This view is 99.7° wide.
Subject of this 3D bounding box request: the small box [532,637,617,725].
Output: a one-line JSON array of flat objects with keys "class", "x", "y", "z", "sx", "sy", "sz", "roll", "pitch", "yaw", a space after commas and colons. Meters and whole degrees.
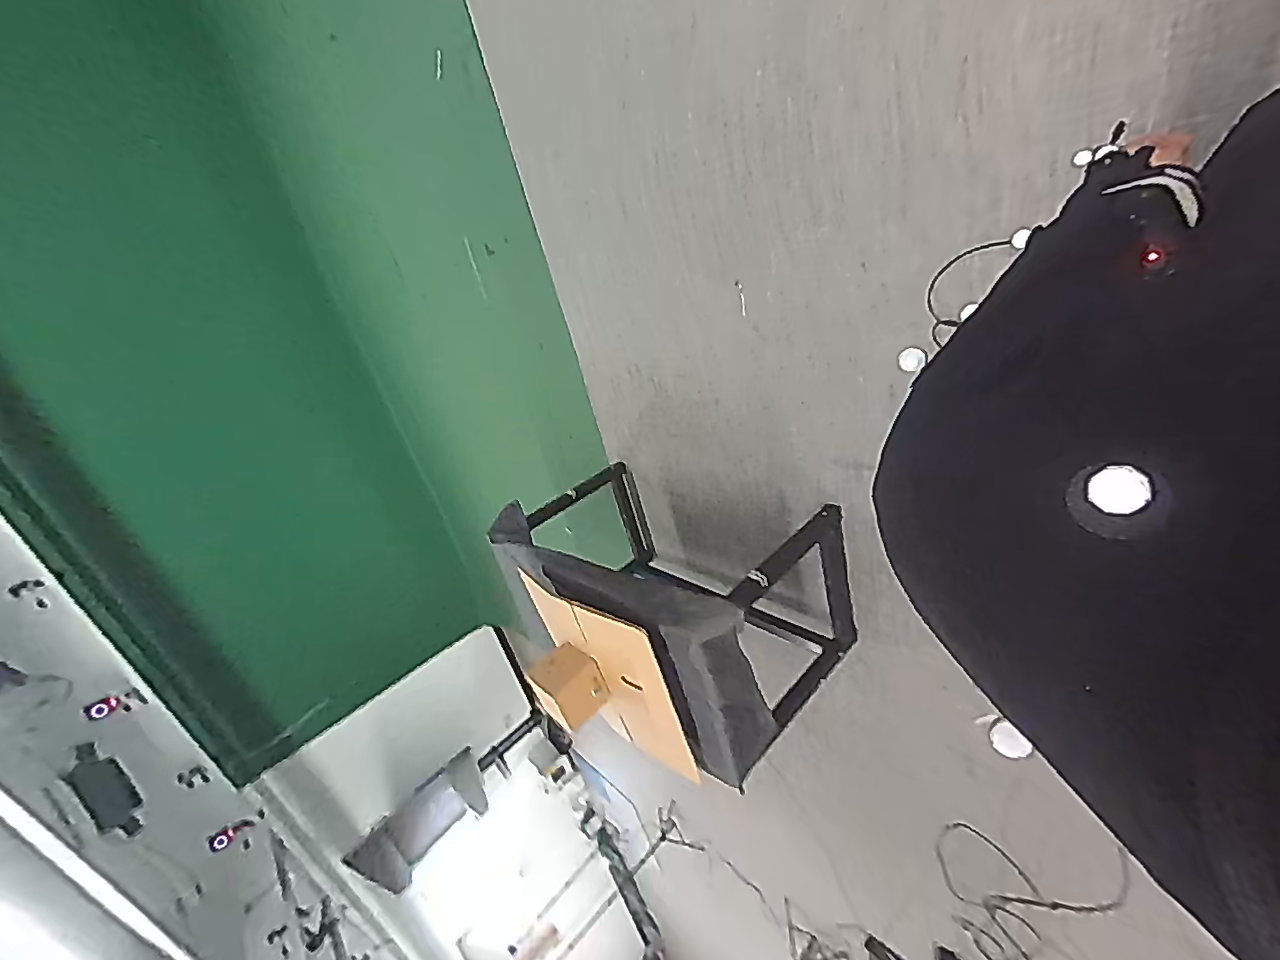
[{"class": "small box", "x": -0.204, "y": 0.627, "z": 1.710, "sx": 0.179, "sy": 0.176, "sz": 0.168, "roll": 9, "pitch": 128, "yaw": 50}]
